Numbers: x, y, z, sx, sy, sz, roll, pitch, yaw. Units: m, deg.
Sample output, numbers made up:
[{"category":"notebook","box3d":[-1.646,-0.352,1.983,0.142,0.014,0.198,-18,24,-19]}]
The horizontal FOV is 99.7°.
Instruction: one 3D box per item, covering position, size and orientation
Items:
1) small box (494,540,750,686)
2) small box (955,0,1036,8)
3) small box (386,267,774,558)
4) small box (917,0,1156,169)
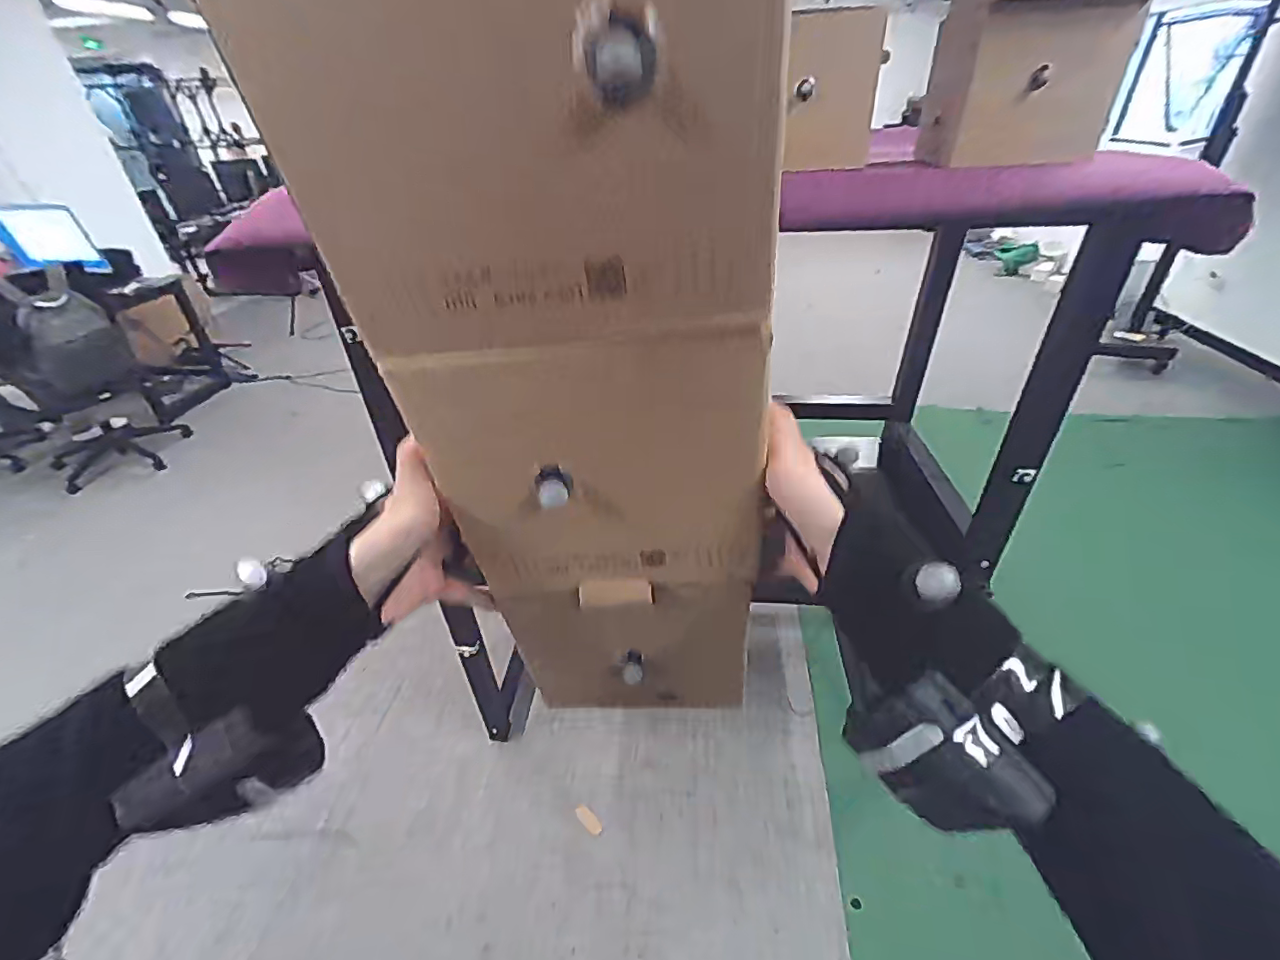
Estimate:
[{"category":"small box","box3d":[0.001,0.053,0.444,0.168,0.176,0.179,-2,43,6]},{"category":"small box","box3d":[0.487,-0.639,0.597,0.179,0.176,0.168,1,35,6]},{"category":"small box","box3d":[-0.015,-0.065,0.331,0.168,0.176,0.179,-4,42,5]},{"category":"small box","box3d":[0.494,-0.517,0.709,0.179,0.176,0.168,1,35,7]}]
